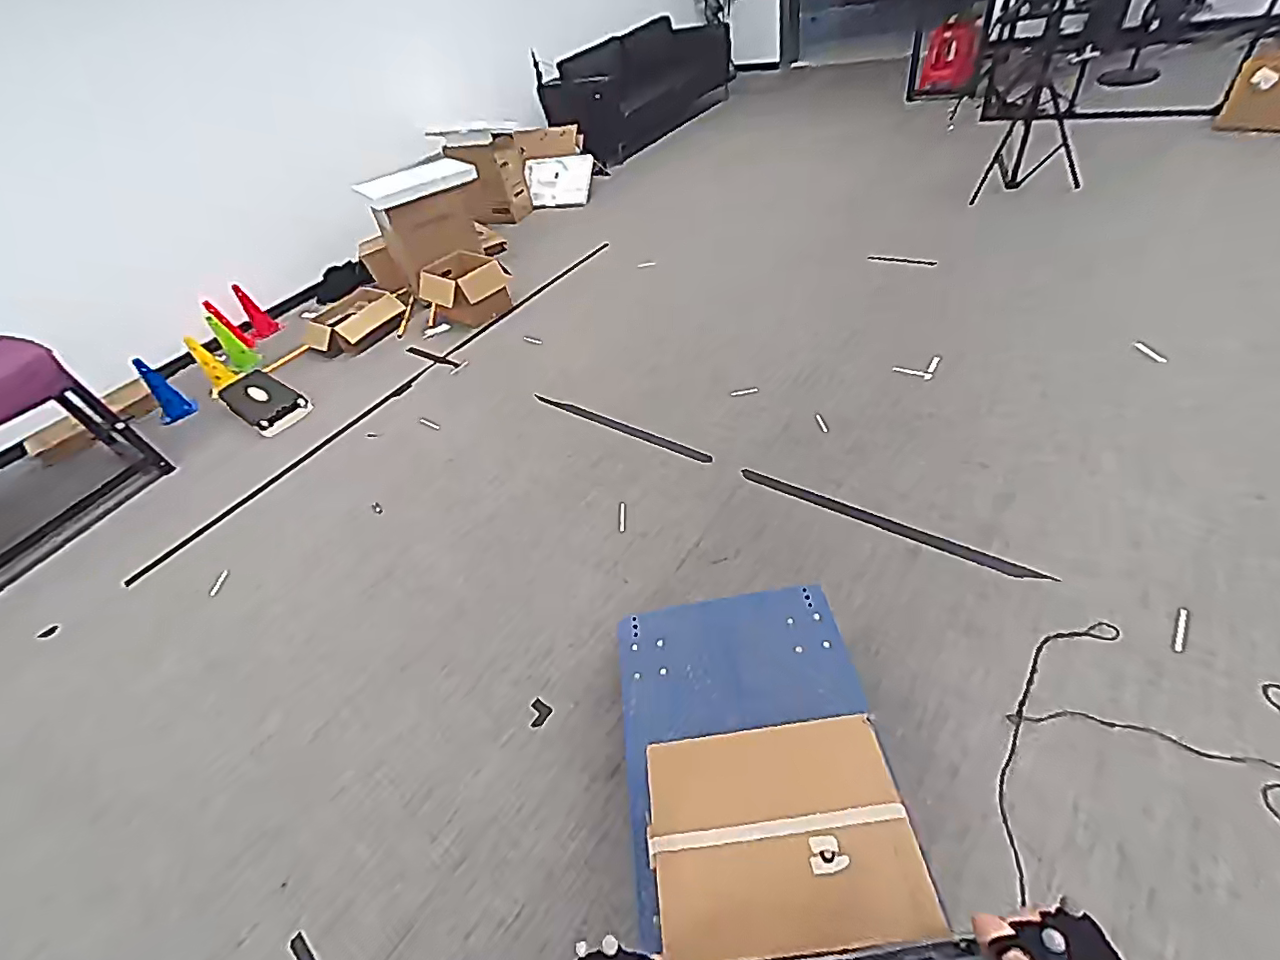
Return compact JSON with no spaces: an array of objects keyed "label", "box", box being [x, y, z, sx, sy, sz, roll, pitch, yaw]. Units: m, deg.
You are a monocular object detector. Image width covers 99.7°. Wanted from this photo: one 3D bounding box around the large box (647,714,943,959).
[{"label":"large box","box":[0.244,0.667,0.979,0.408,0.320,0.320,-10,45,3]}]
